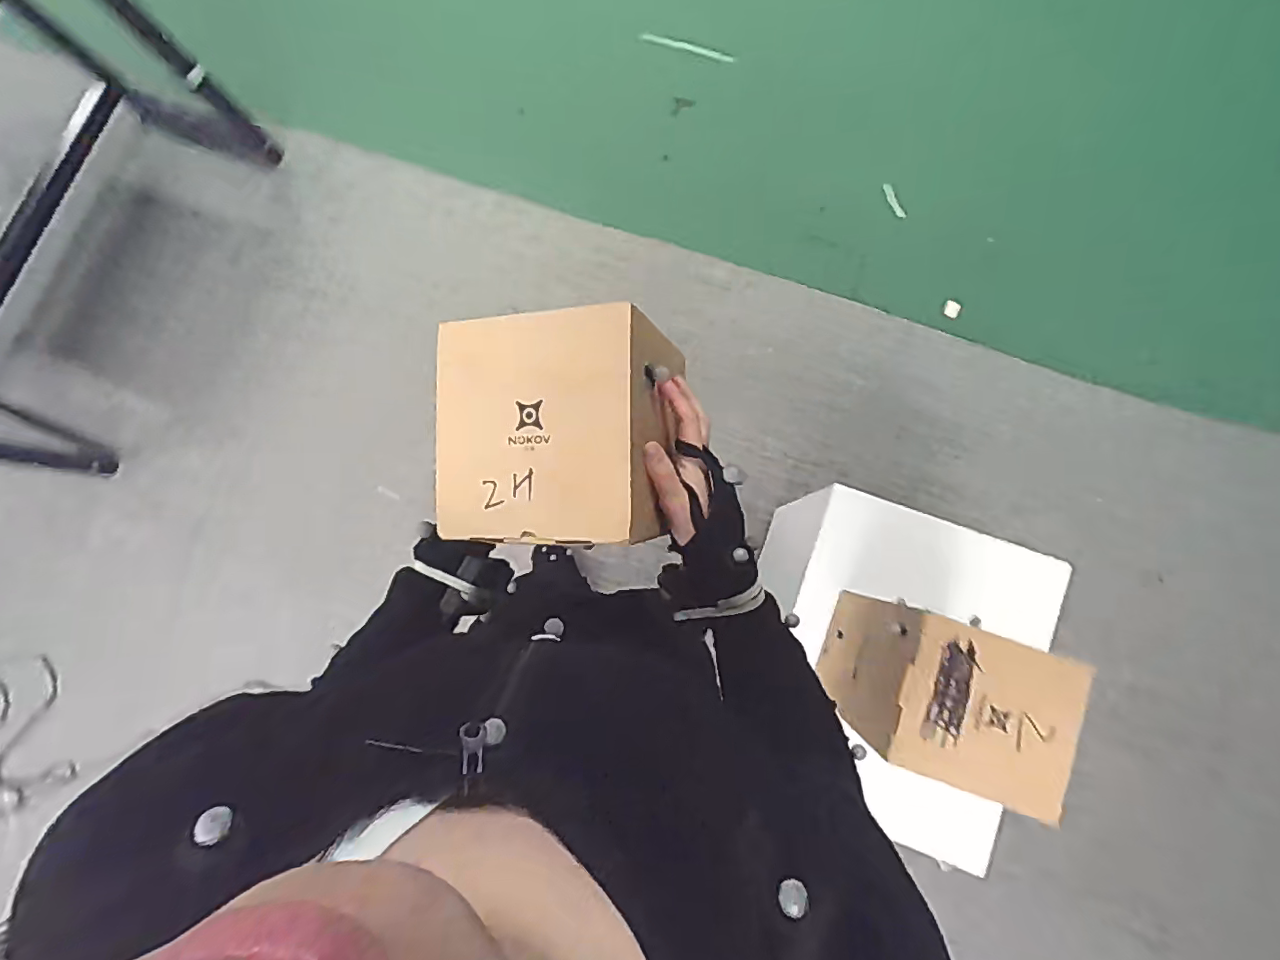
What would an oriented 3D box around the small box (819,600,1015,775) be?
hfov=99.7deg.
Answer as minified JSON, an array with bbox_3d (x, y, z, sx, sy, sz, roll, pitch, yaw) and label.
[{"bbox_3d":[0.385,0.282,0.782,0.179,0.176,0.168,20,83,6],"label":"small box"}]

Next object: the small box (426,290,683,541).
[{"bbox_3d":[-0.061,-0.042,0.469,0.168,0.176,0.179,-2,89,18],"label":"small box"}]
